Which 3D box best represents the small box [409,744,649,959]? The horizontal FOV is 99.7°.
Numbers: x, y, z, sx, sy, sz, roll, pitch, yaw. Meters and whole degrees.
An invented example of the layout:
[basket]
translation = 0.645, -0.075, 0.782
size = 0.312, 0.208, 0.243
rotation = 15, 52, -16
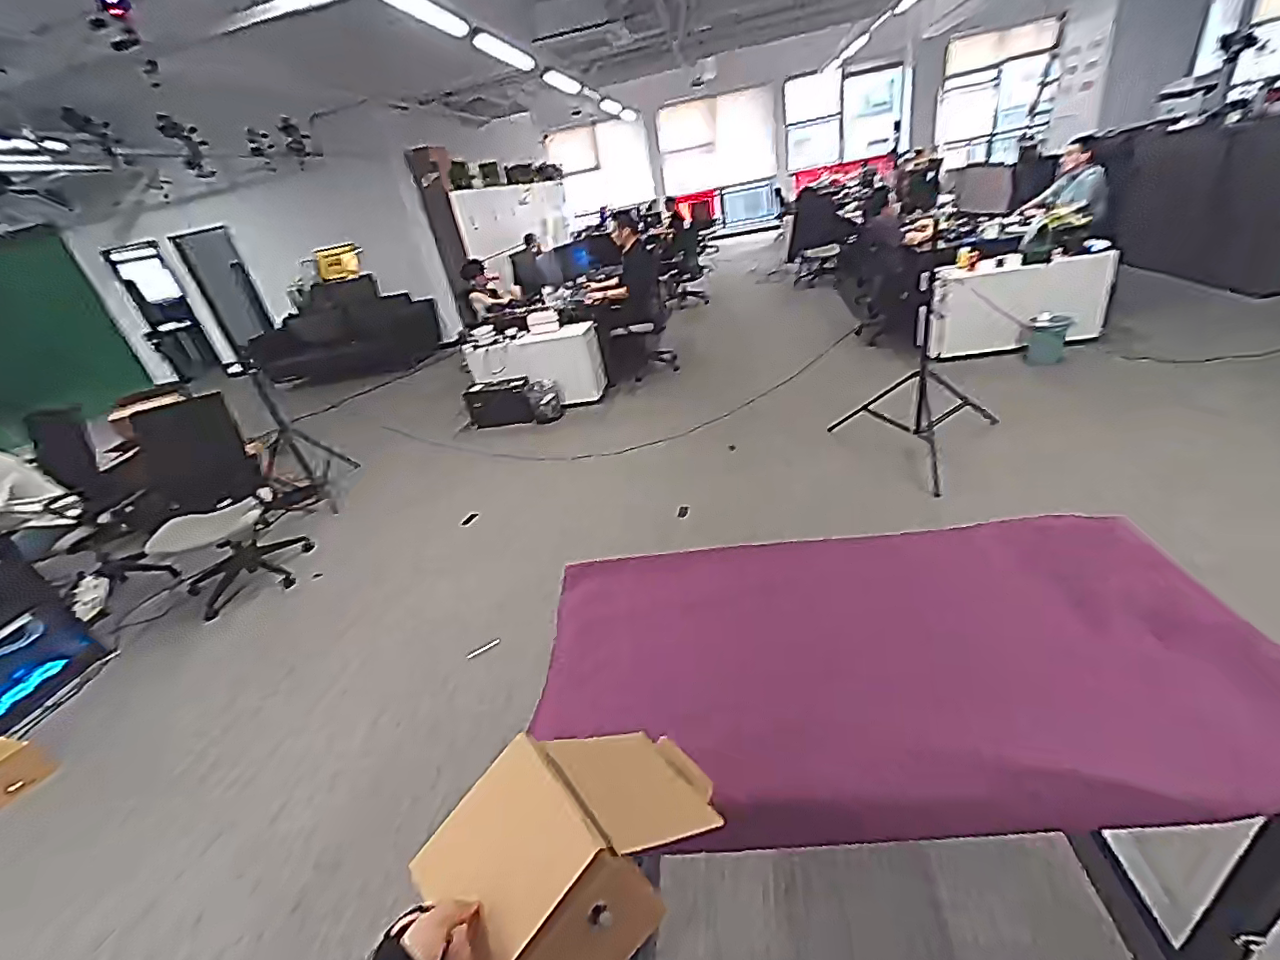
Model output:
[small box]
translation = -0.109, 0.441, 0.587
size = 0.179, 0.176, 0.168
rotation = -38, 37, -22
